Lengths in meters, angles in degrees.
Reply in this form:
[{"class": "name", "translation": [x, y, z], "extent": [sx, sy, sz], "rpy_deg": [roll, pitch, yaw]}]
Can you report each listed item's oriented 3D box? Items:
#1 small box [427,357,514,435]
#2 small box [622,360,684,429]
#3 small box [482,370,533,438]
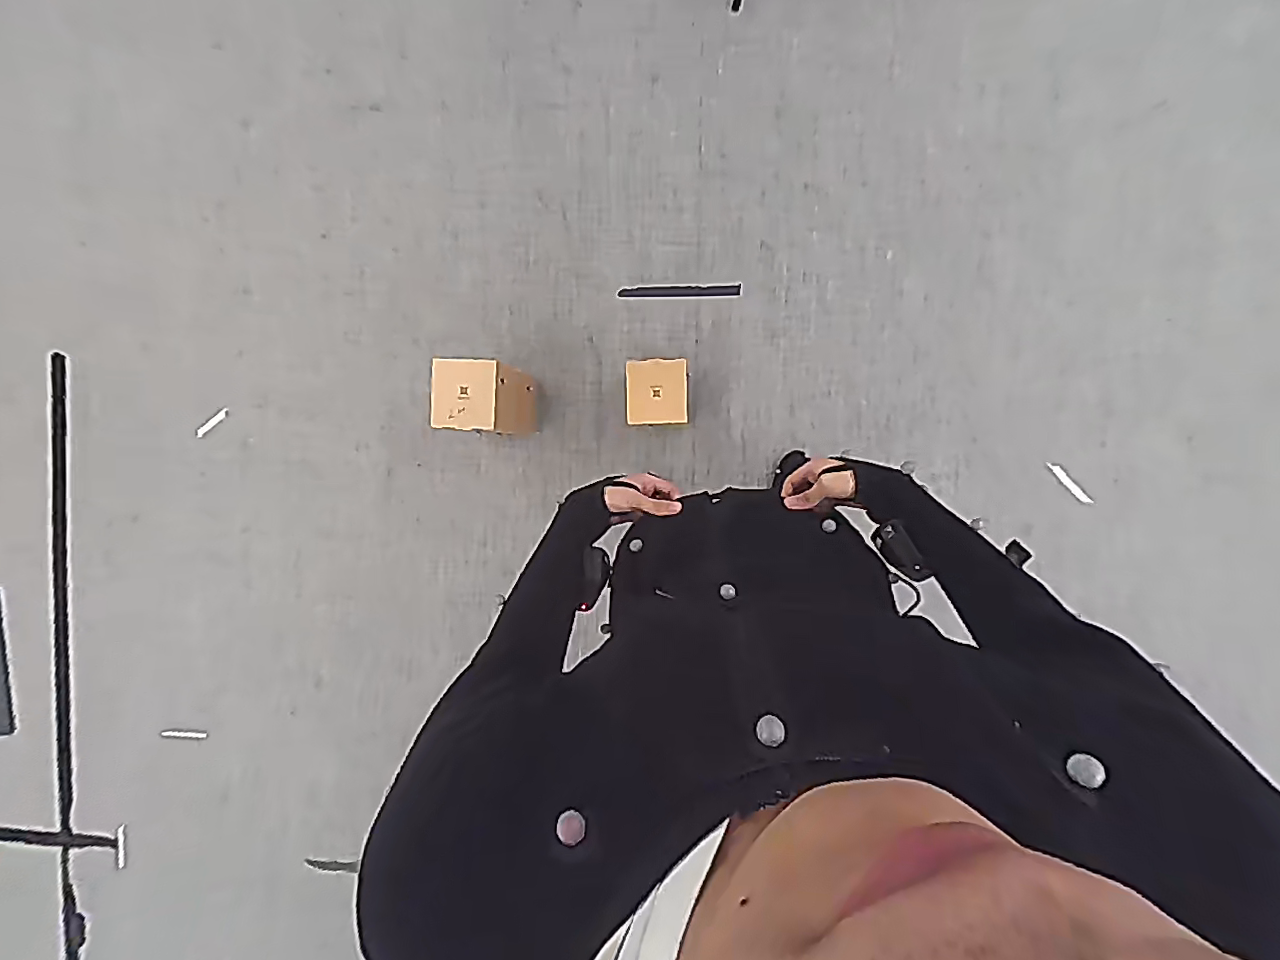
[{"class": "small box", "translation": [-0.433, -0.212, 1.400], "extent": [0.168, 0.176, 0.179], "rpy_deg": [3, 92, 5]}, {"class": "small box", "translation": [0.041, -0.236, 1.534], "extent": [0.168, 0.176, 0.179], "rpy_deg": [-2, 91, 4]}, {"class": "small box", "translation": [-0.414, -0.220, 1.563], "extent": [0.168, 0.176, 0.179], "rpy_deg": [4, 92, 5]}]
